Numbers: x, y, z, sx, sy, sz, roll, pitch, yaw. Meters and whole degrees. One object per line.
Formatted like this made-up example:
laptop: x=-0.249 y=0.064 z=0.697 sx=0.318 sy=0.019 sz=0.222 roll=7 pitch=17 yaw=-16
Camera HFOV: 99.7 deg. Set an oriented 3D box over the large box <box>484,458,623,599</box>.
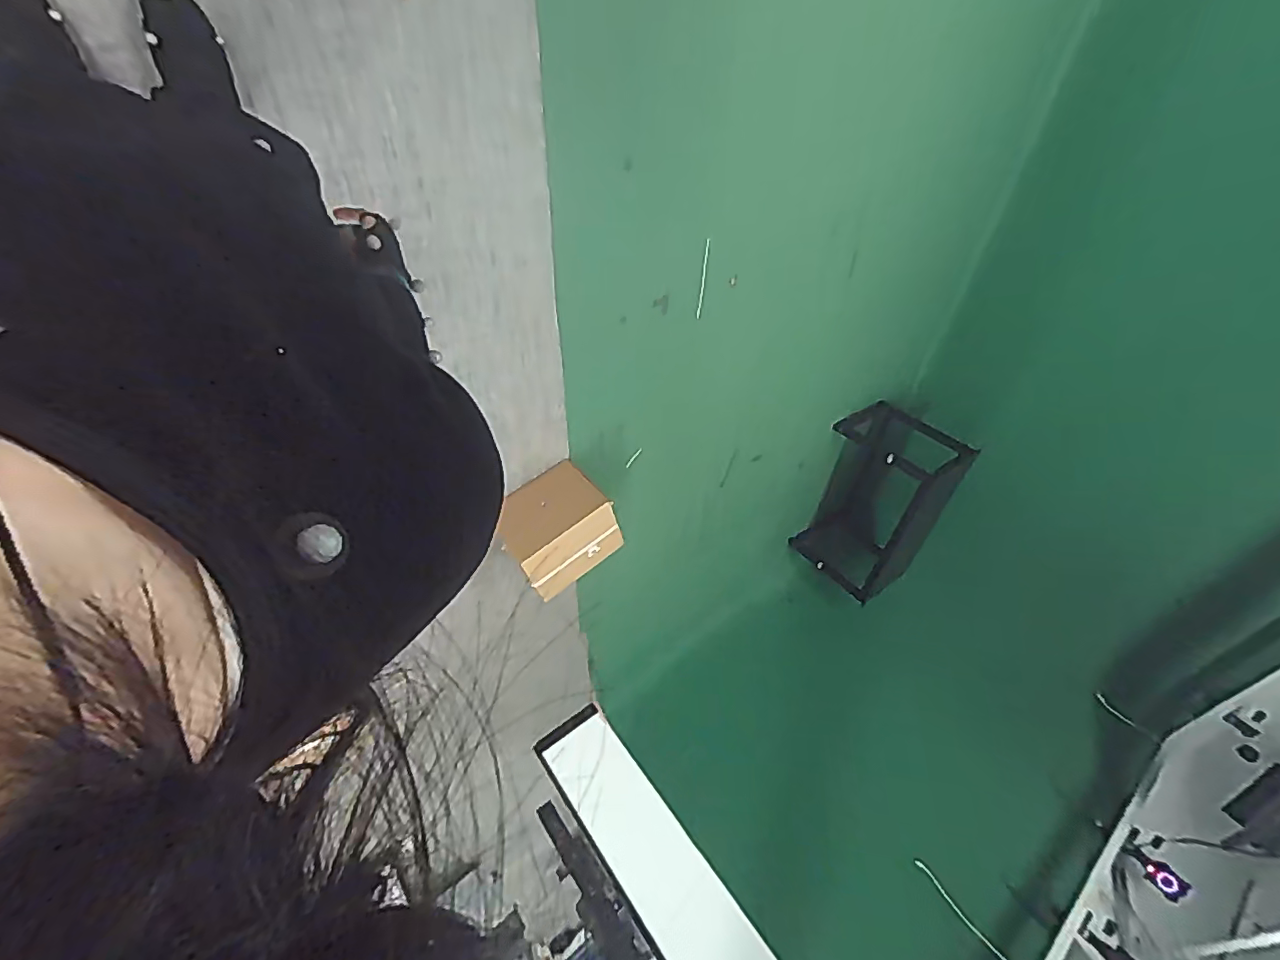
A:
large box: x=-0.338 y=0.188 z=2.166 sx=0.408 sy=0.320 sz=0.320 roll=-36 pitch=145 yaw=-18
